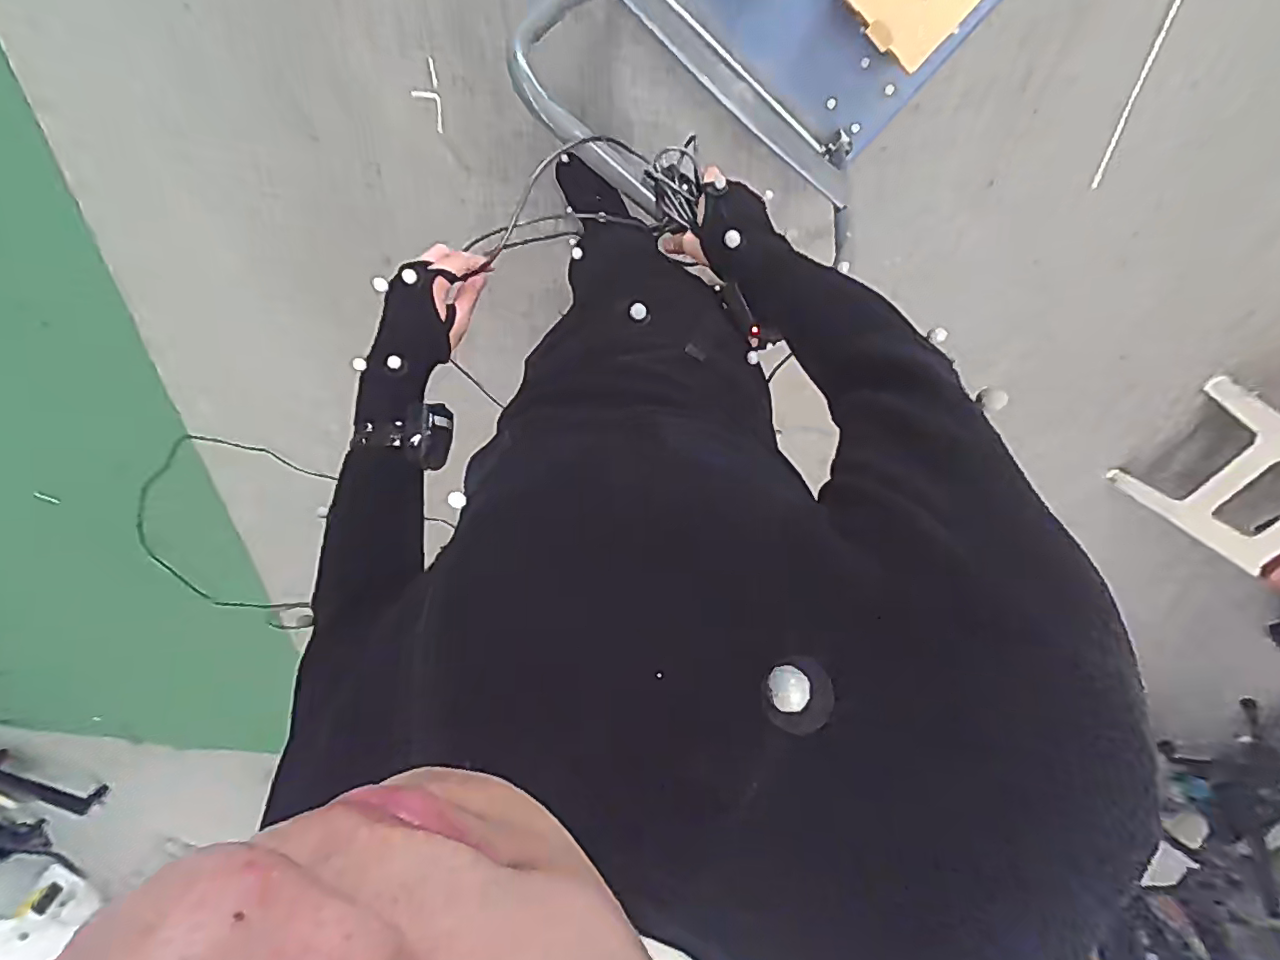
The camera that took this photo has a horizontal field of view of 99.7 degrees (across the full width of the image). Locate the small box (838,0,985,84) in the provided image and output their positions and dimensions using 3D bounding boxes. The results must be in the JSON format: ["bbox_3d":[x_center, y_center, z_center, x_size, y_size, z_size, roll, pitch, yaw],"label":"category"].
[{"bbox_3d":[0.441,-0.796,0.870,0.168,0.176,0.179,35,133,-18],"label":"small box"}]
